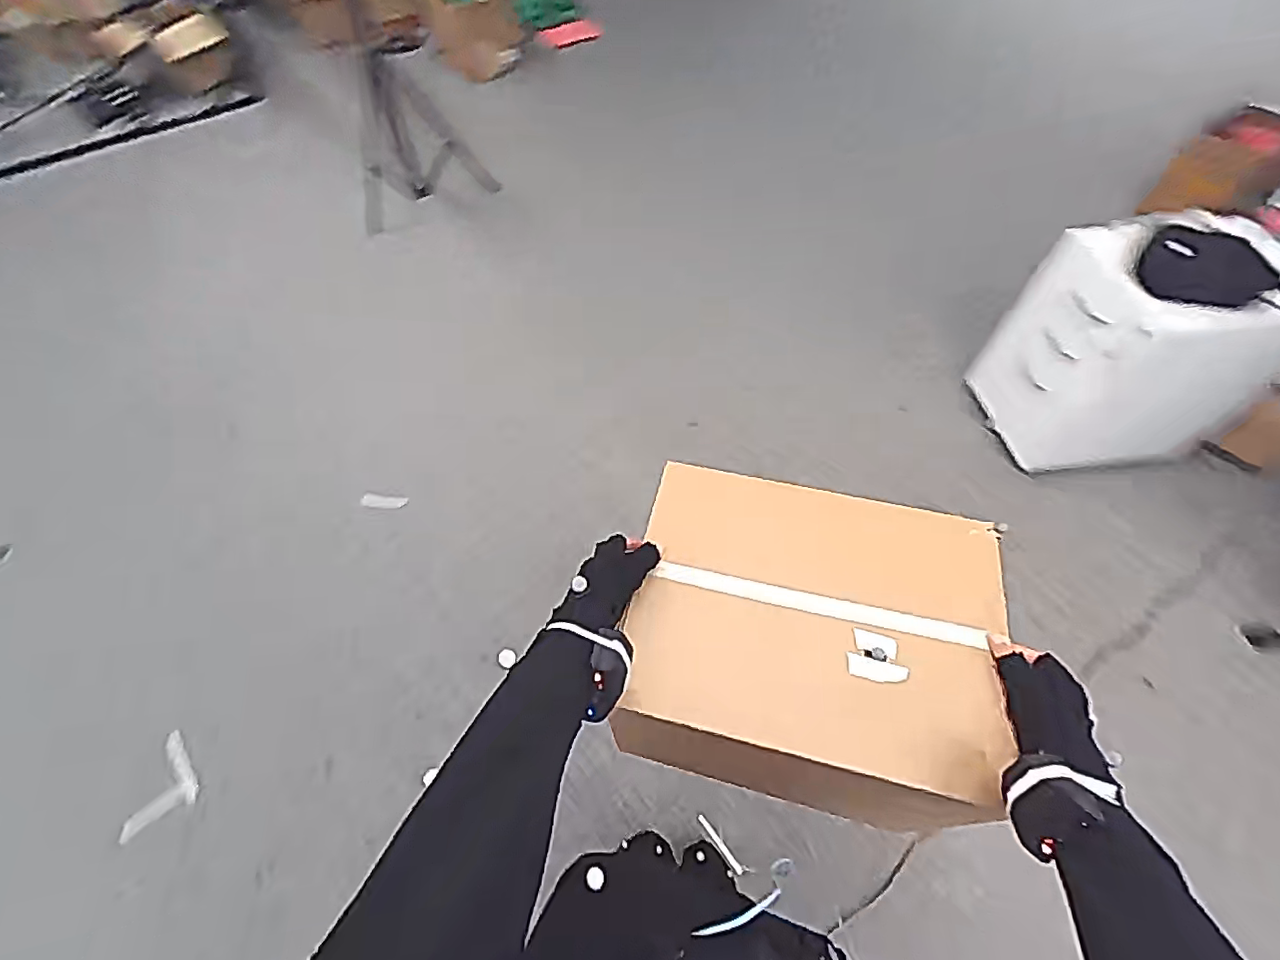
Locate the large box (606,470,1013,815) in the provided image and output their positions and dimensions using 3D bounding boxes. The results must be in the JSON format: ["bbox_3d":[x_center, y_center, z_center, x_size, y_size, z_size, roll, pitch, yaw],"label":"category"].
[{"bbox_3d":[0.192,0.224,0.734,0.408,0.320,0.320,10,57,9],"label":"large box"}]
